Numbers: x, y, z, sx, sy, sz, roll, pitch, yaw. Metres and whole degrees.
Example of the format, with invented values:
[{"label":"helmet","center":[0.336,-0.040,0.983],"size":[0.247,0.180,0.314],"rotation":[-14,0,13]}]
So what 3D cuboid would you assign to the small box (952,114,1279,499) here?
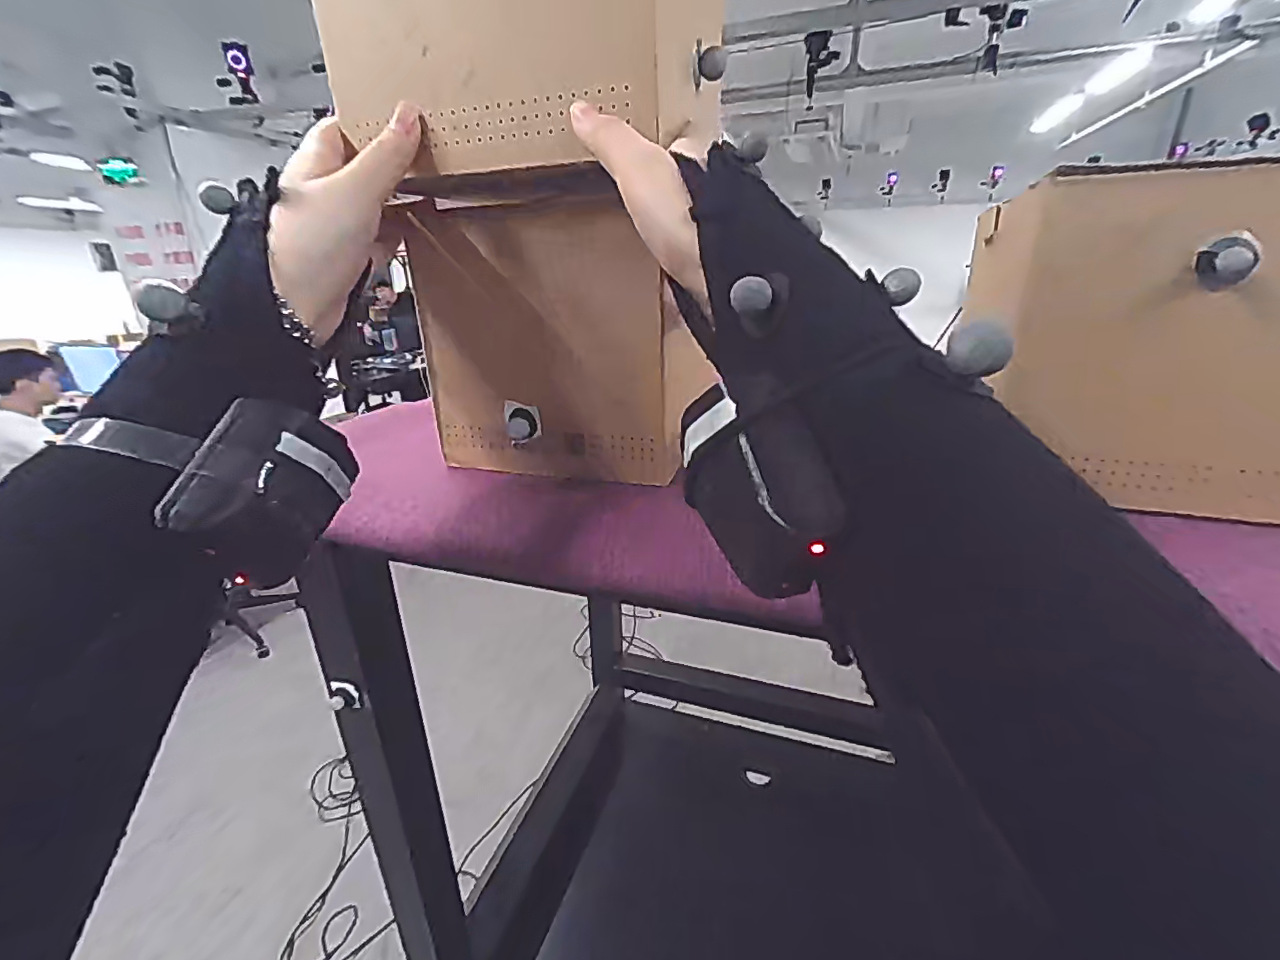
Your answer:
[{"label":"small box","center":[0.301,-0.096,0.320],"size":[0.179,0.176,0.168],"rotation":[7,21,19]}]

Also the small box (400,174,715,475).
[{"label":"small box","center":[-0.040,-0.115,0.400],"size":[0.168,0.176,0.179],"rotation":[3,23,16]}]

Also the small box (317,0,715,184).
[{"label":"small box","center":[-0.058,-0.264,0.300],"size":[0.179,0.176,0.168],"rotation":[4,24,16]}]
